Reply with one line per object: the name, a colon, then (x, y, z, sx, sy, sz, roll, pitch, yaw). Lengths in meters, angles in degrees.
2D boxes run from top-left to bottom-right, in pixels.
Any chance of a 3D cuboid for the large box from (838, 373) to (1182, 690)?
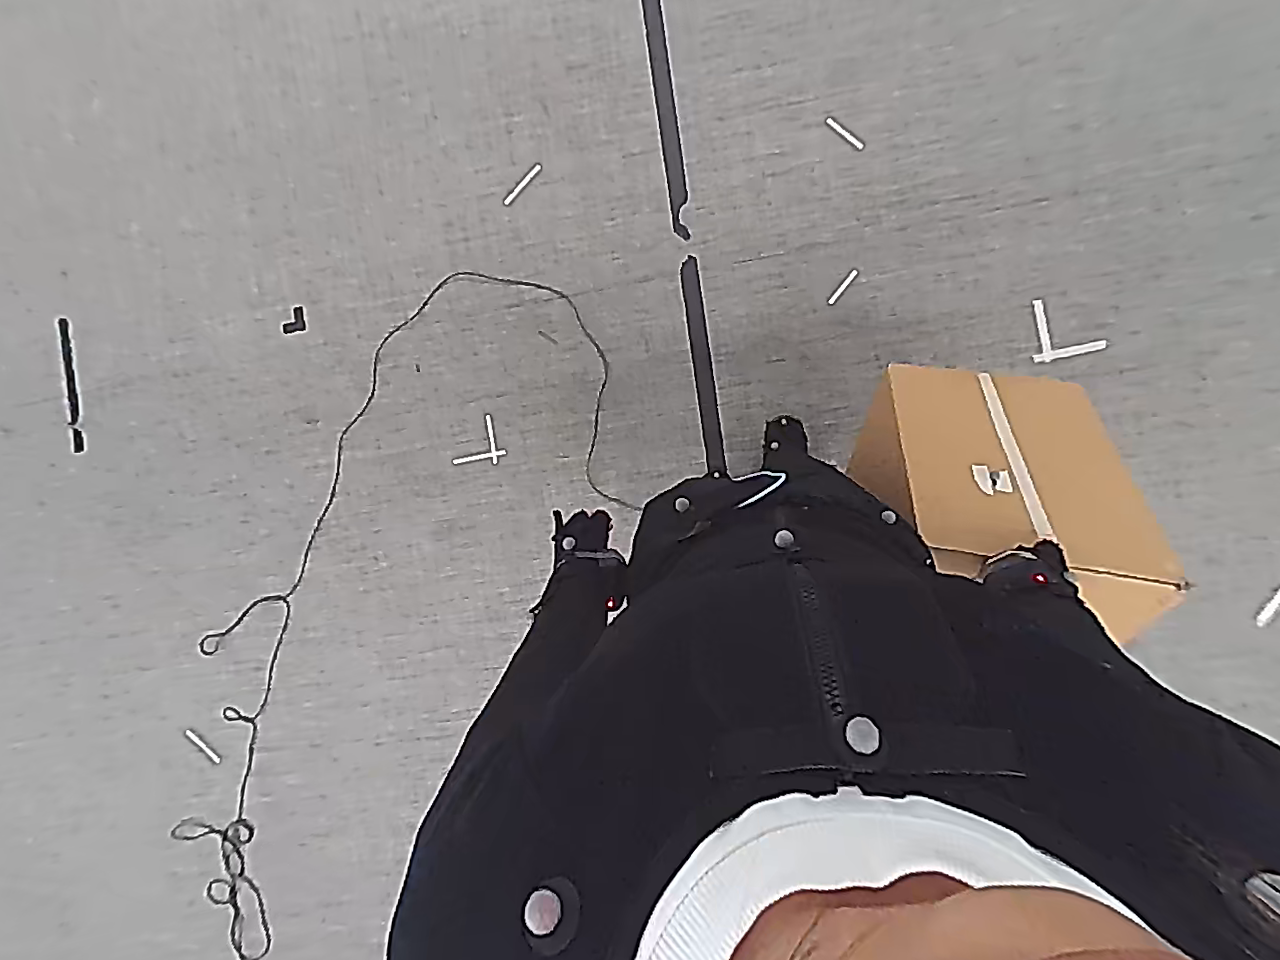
large box: (0.541, 0.076, 0.911, 0.320, 0.320, 0.408, 8, 48, 8)
